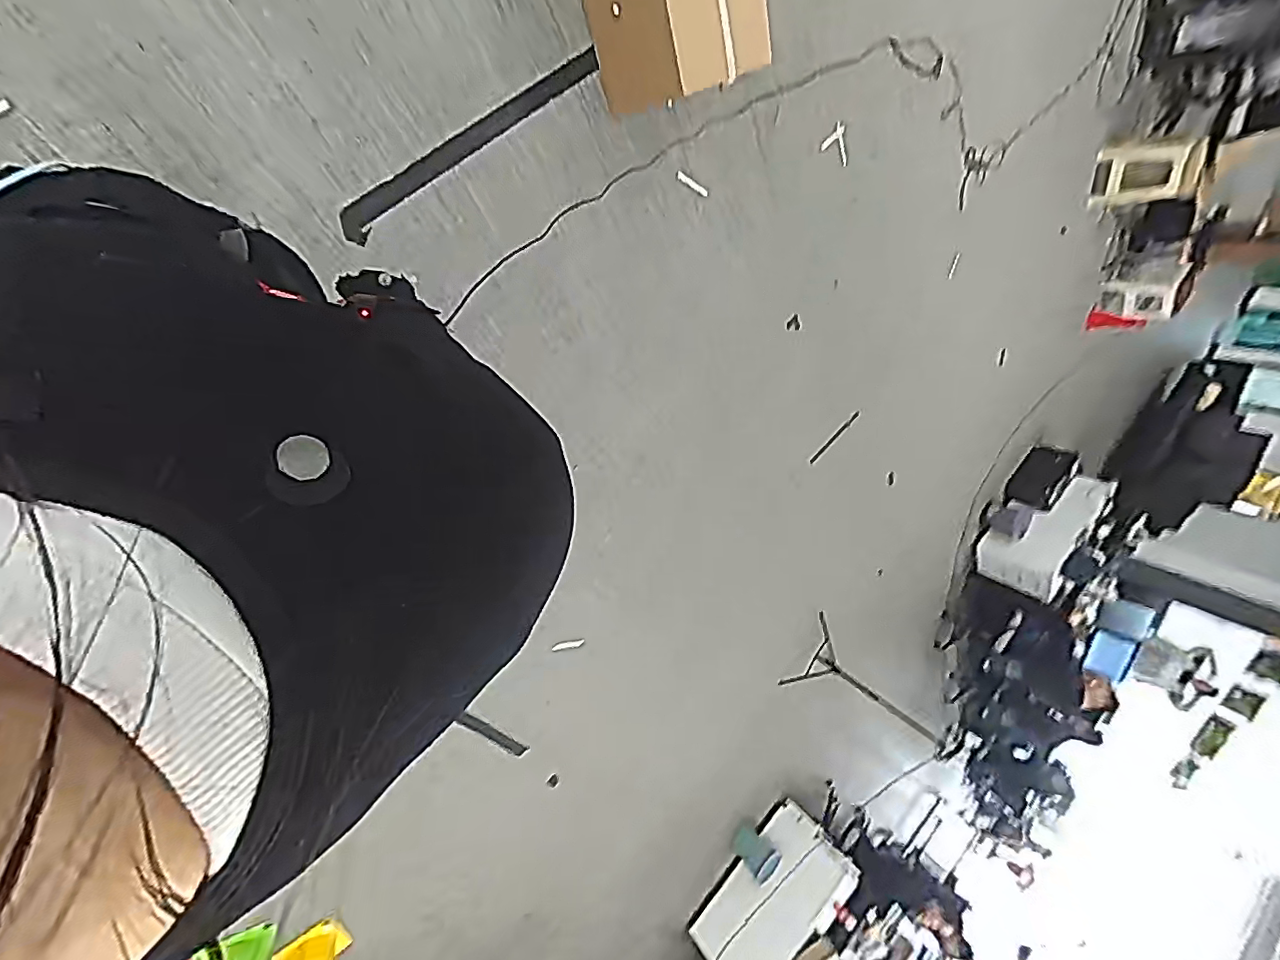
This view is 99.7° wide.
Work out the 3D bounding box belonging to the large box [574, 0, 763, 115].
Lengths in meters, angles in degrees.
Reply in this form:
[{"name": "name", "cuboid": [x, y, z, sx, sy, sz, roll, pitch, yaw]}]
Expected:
[{"name": "large box", "cuboid": [0.052, -1.174, 1.299, 0.320, 0.320, 0.408, -36, 127, -22]}]
